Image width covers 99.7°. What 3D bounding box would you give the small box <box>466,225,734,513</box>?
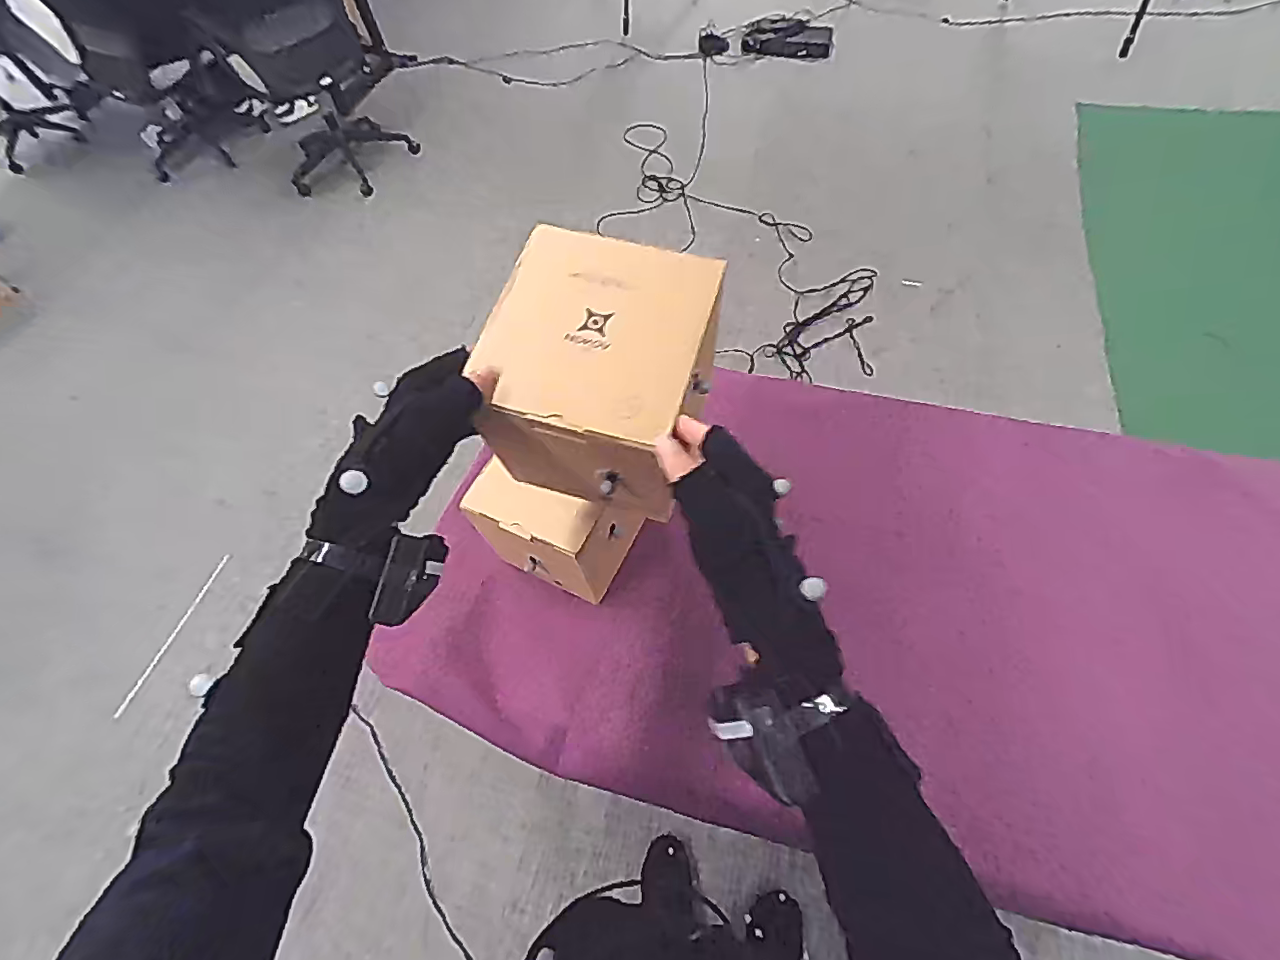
[{"bbox_3d":[-0.022,-0.087,0.486,0.168,0.176,0.179,15,71,9],"label":"small box"}]

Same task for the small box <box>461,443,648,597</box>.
[{"bbox_3d":[-0.096,0.032,0.720,0.168,0.176,0.179,21,64,17],"label":"small box"}]
